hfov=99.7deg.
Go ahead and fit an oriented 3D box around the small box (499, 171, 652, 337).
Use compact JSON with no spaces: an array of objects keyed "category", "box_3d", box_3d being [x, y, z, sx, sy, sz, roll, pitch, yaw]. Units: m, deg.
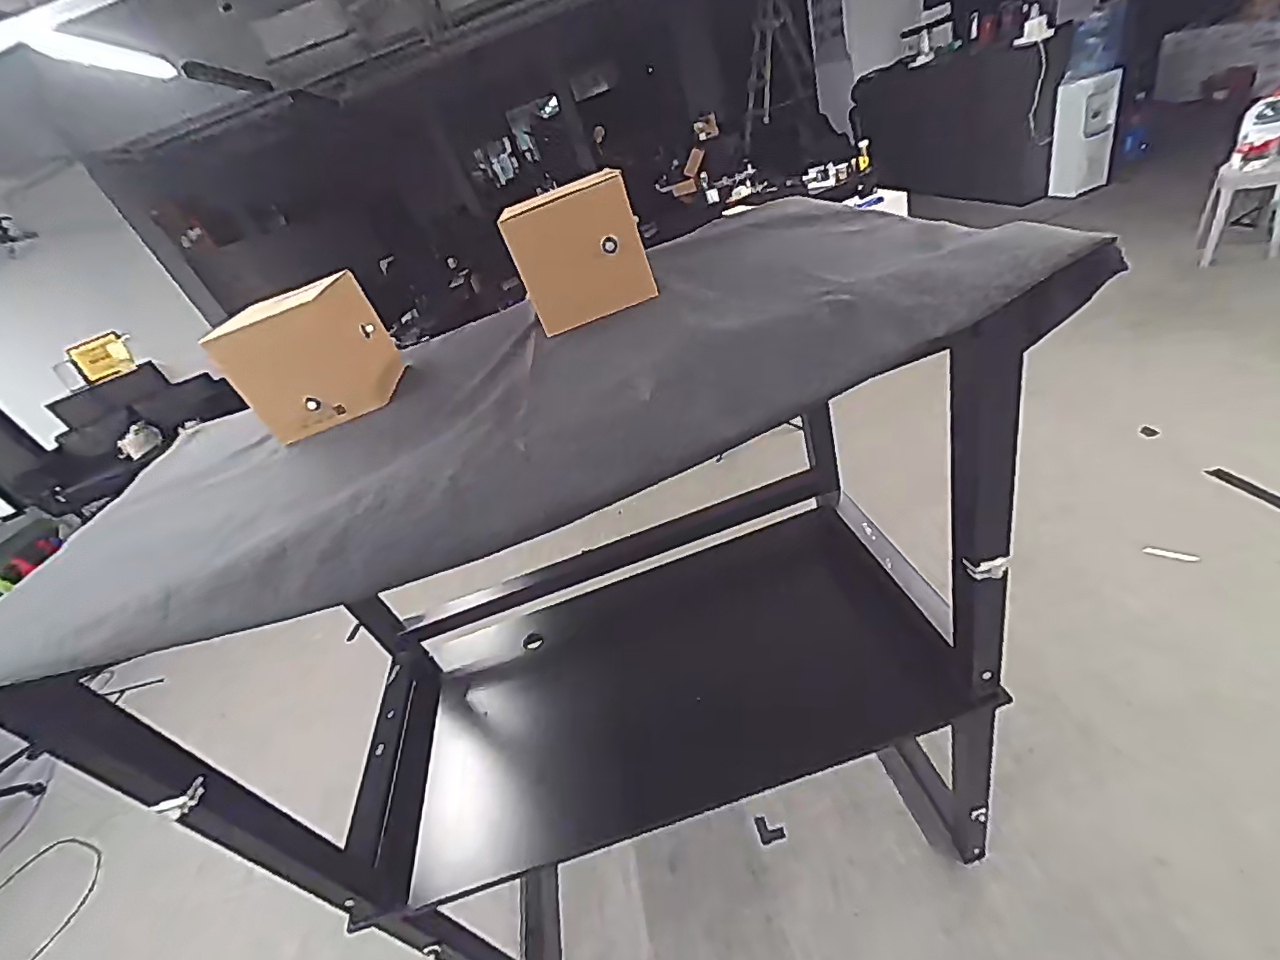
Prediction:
[{"category":"small box","box_3d":[-0.089,-0.339,0.810,0.179,0.176,0.168,-19,32,3]}]
